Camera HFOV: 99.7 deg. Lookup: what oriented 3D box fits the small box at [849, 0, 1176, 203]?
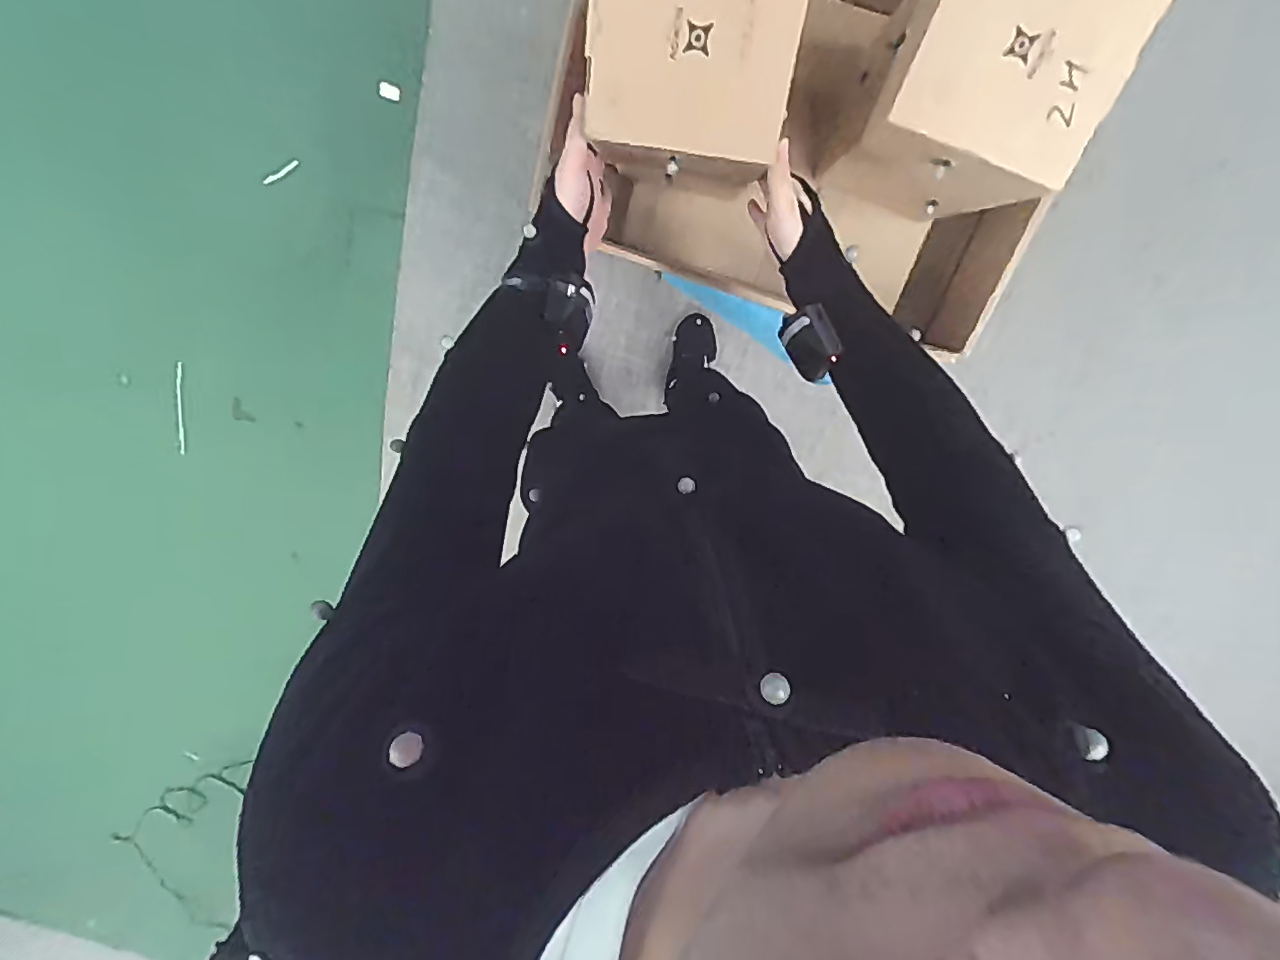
[{"bbox_3d":[0.334,-0.389,0.528,0.179,0.176,0.168,21,112,-3],"label":"small box"}]
